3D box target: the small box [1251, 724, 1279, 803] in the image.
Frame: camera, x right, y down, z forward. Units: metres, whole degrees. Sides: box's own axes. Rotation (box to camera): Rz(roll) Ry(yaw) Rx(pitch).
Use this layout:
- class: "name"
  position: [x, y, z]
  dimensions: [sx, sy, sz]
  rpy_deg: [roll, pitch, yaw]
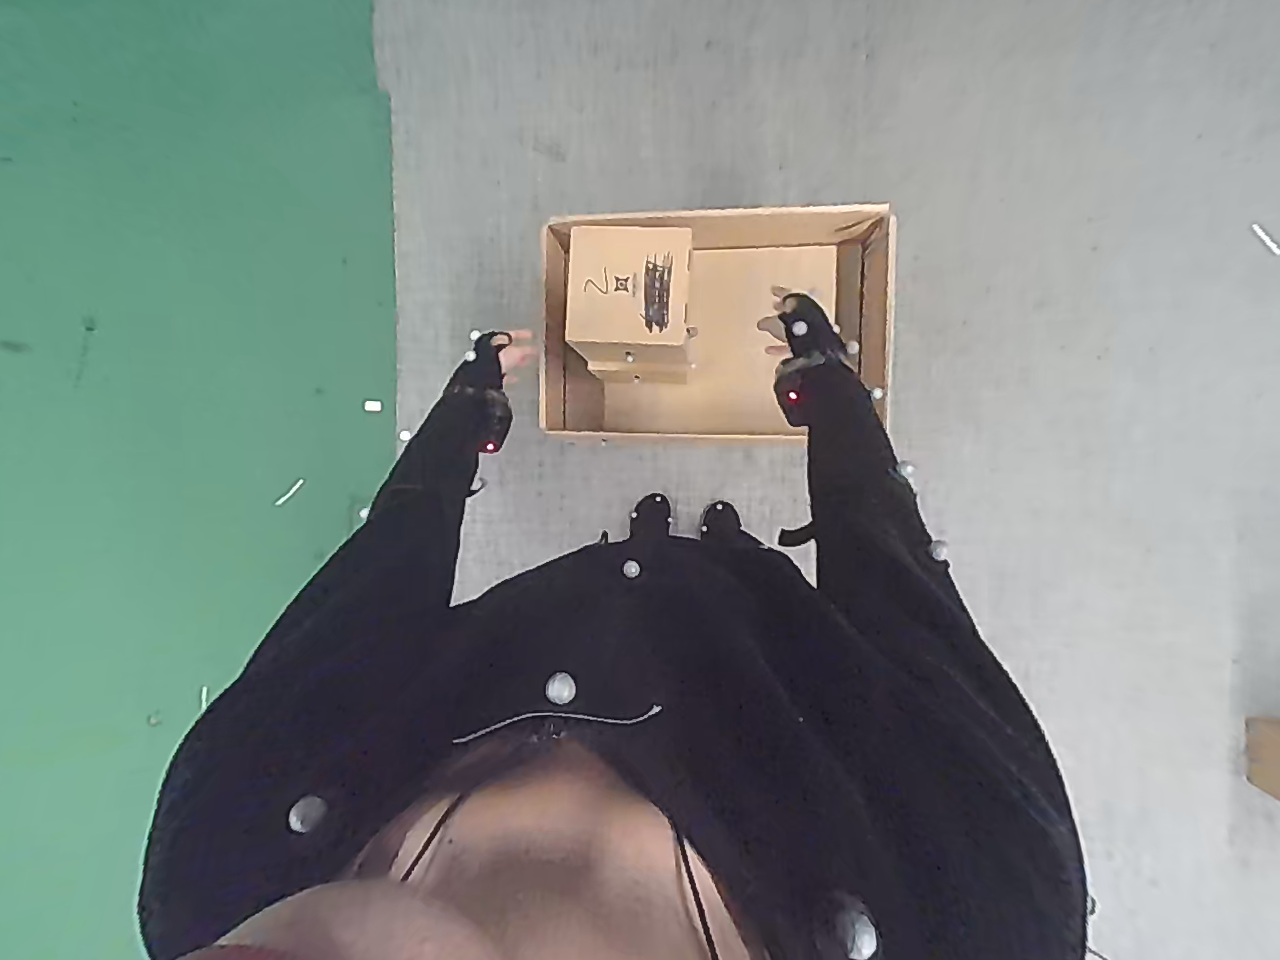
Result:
- class: "small box"
  position: [1.621, 0.700, 1.281]
  dimensions: [0.168, 0.176, 0.179]
  rpy_deg: [-1, 91, 7]

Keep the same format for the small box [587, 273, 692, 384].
- class: "small box"
  position: [0.005, -0.274, 1.006]
  dimensions: [0.179, 0.176, 0.168]
  rpy_deg: [2, 92, 6]
